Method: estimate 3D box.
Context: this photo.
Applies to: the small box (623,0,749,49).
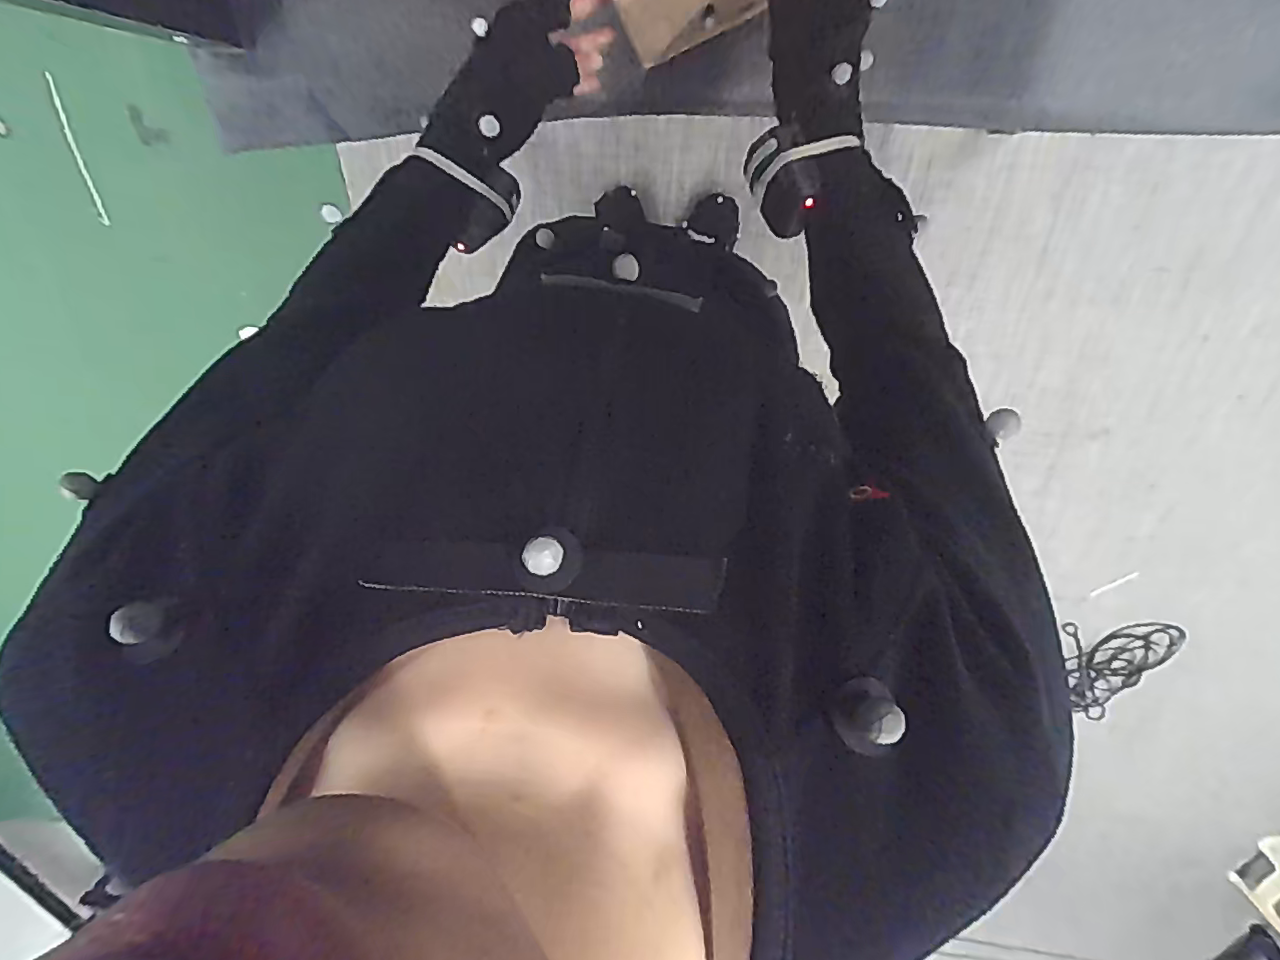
[{"bbox_3d":[0.037,-0.471,0.396,0.168,0.176,0.179,-19,112,16],"label":"small box"}]
